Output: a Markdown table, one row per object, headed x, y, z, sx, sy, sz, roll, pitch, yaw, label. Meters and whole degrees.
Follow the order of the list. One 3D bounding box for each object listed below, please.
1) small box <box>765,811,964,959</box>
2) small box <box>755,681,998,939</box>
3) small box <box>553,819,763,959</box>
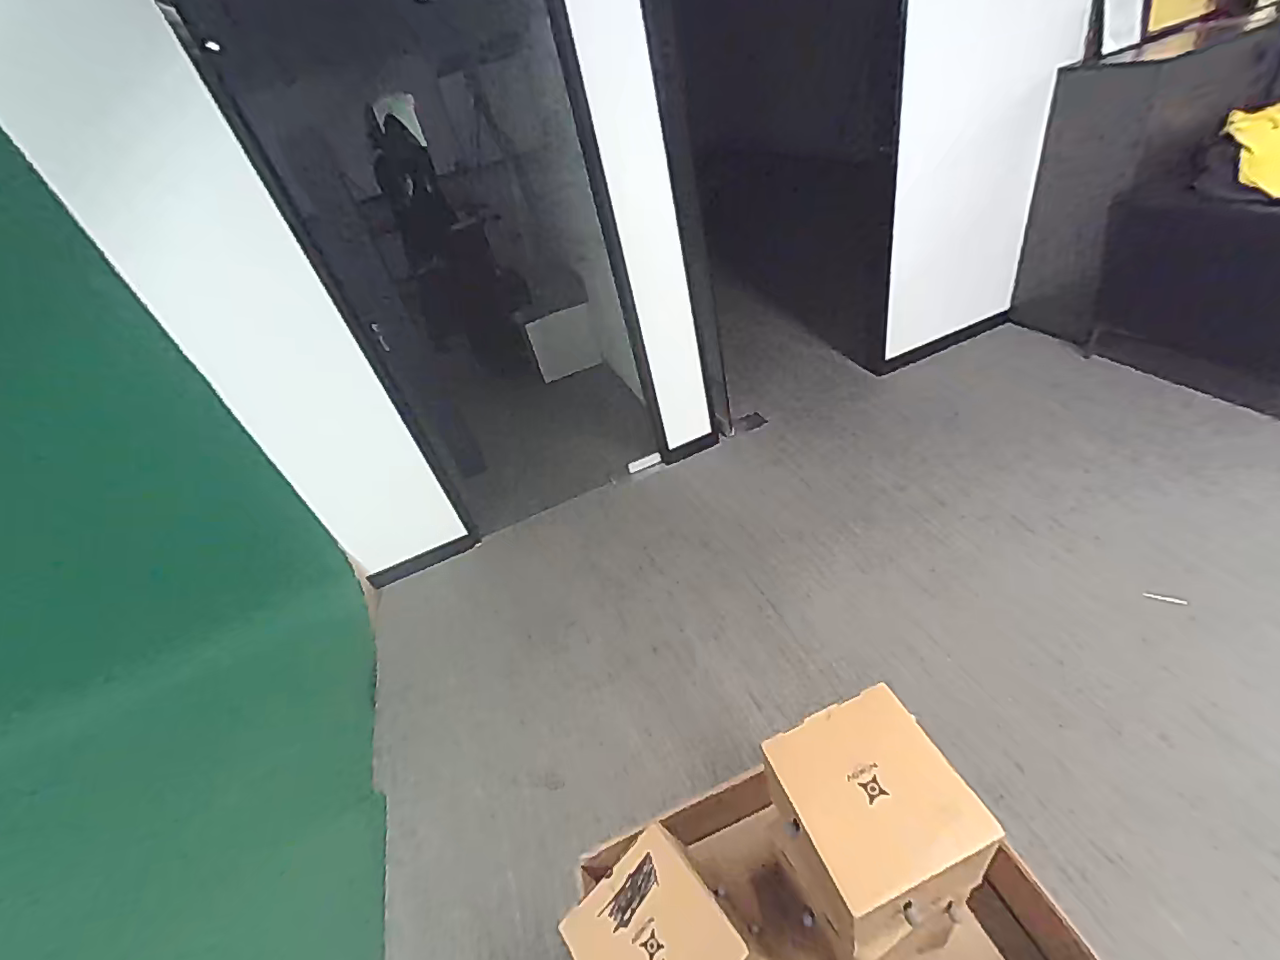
| x | y | z | sx | sy | sz | roll | pitch | yaw | label |
| --- | --- | --- | --- | --- | --- | --- | --- | --- | --- |
| 0.285 | 0.497 | 0.696 | 0.179 | 0.176 | 0.168 | -29 | 38 | -12 | small box |
| 0.251 | 0.370 | 0.603 | 0.168 | 0.176 | 0.179 | -24 | 38 | -6 | small box |
| 0.027 | 0.577 | 0.674 | 0.168 | 0.176 | 0.179 | -41 | 45 | -15 | small box |
